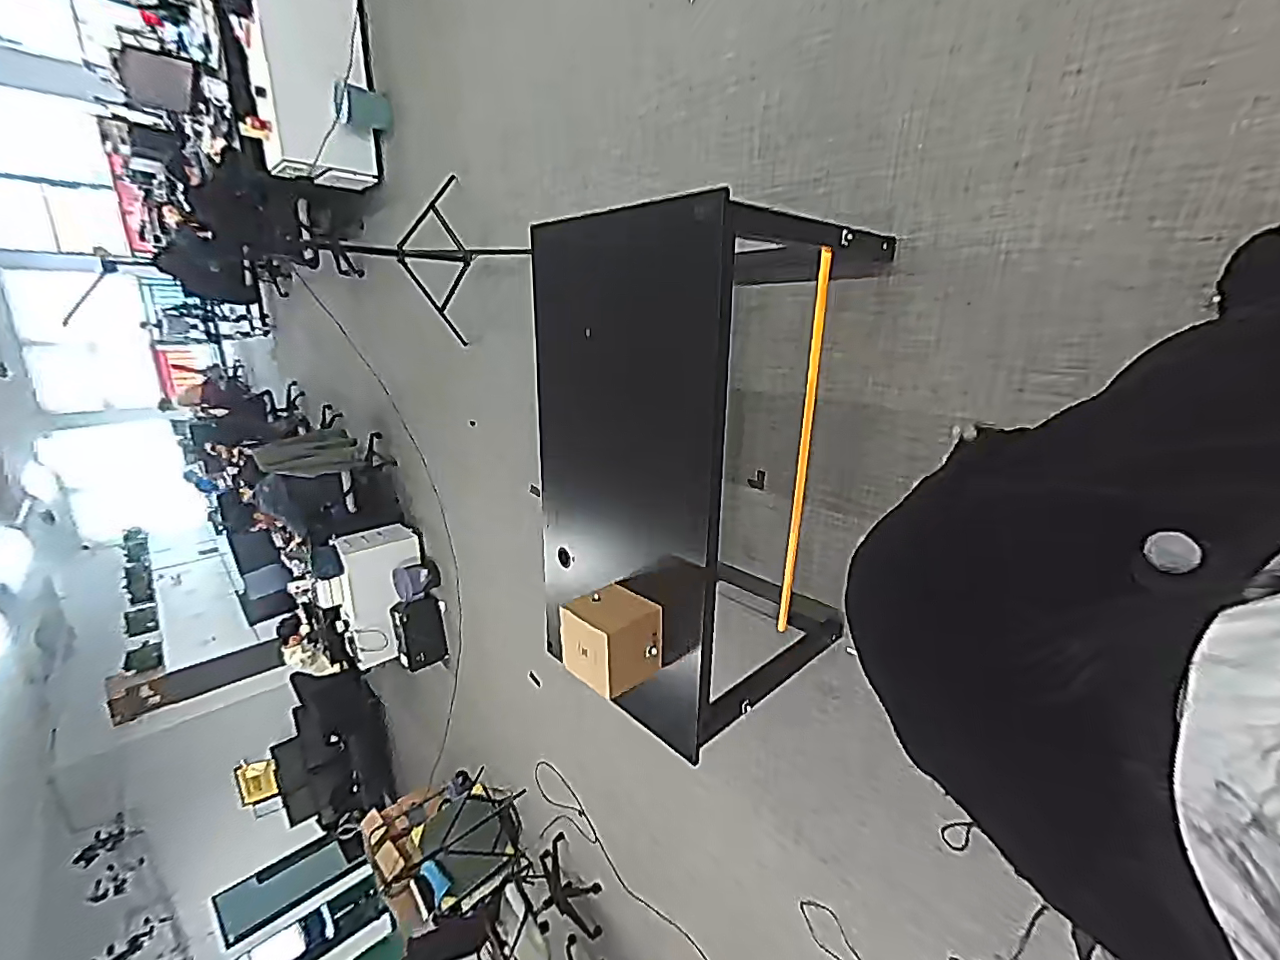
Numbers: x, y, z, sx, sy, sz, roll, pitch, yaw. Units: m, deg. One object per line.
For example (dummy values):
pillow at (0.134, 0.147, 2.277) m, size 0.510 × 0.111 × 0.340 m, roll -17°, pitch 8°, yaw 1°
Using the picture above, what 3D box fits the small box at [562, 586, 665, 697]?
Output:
small box at (-0.061, 0.362, 1.255) m, size 0.179 × 0.176 × 0.168 m, roll 14°, pitch 112°, yaw 45°
